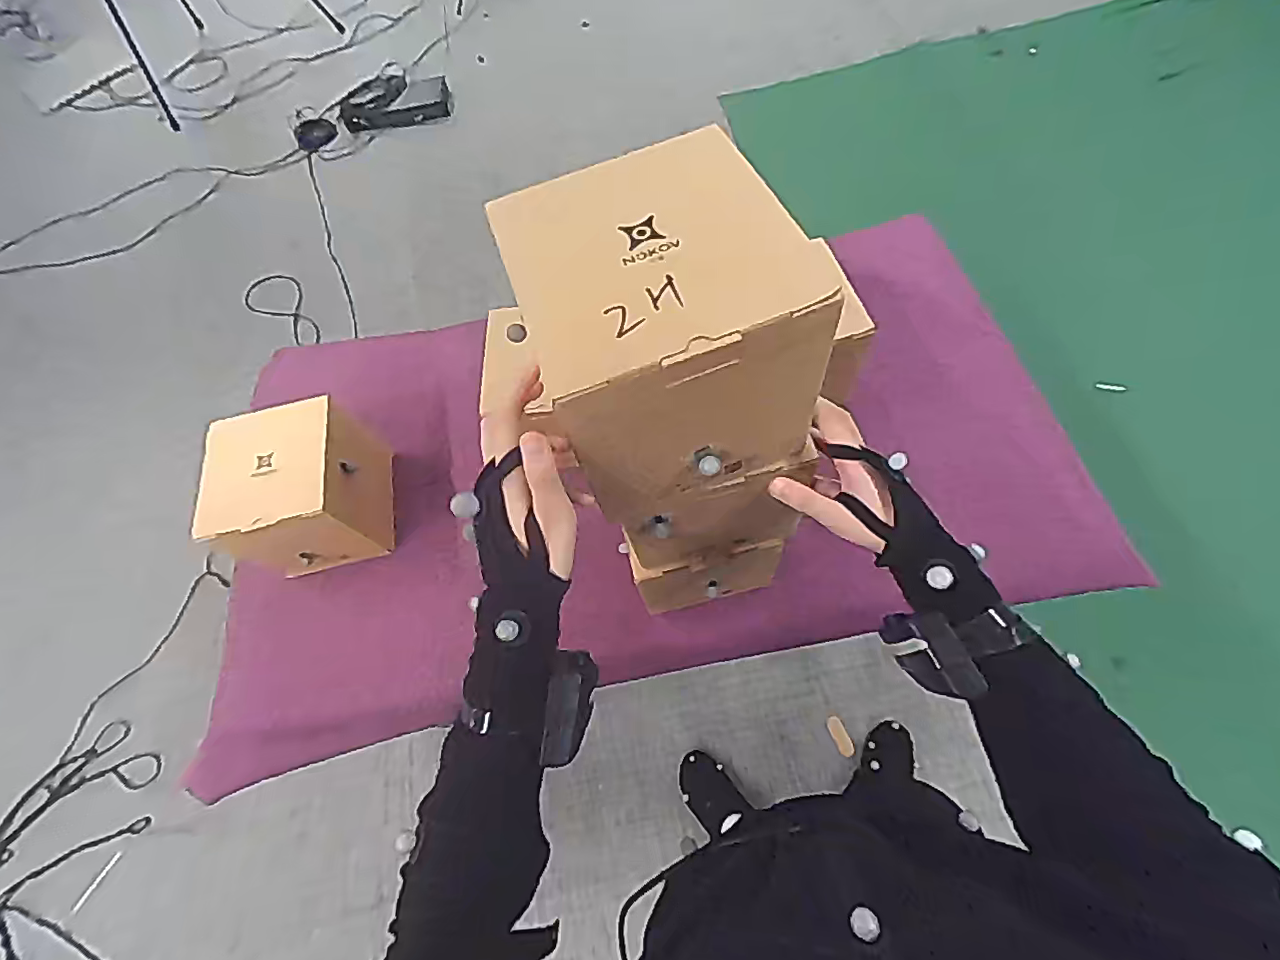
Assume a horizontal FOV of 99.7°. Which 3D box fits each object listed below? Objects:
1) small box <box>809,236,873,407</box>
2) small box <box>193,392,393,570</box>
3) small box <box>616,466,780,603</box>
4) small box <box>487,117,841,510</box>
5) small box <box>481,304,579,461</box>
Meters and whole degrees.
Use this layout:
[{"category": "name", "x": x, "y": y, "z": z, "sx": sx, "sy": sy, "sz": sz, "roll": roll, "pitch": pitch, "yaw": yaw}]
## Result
[{"category": "small box", "x": 0.203, "y": -0.206, "z": 0.774, "sx": 0.168, "sy": 0.176, "sz": 0.179, "roll": -15, "pitch": 63, "yaw": 0}, {"category": "small box", "x": -0.466, "y": 0.008, "z": 0.757, "sx": 0.168, "sy": 0.176, "sz": 0.179, "roll": -13, "pitch": 65, "yaw": 0}, {"category": "small box", "x": 0.062, "y": 0.044, "z": 0.673, "sx": 0.168, "sy": 0.176, "sz": 0.179, "roll": -14, "pitch": 63, "yaw": 0}, {"category": "small box", "x": 0.012, "y": -0.106, "z": 0.384, "sx": 0.168, "sy": 0.176, "sz": 0.179, "roll": -20, "pitch": 63, "yaw": -1}, {"category": "small box", "x": -0.115, "y": -0.136, "z": 0.782, "sx": 0.168, "sy": 0.176, "sz": 0.179, "roll": -4, "pitch": 65, "yaw": 4}]
